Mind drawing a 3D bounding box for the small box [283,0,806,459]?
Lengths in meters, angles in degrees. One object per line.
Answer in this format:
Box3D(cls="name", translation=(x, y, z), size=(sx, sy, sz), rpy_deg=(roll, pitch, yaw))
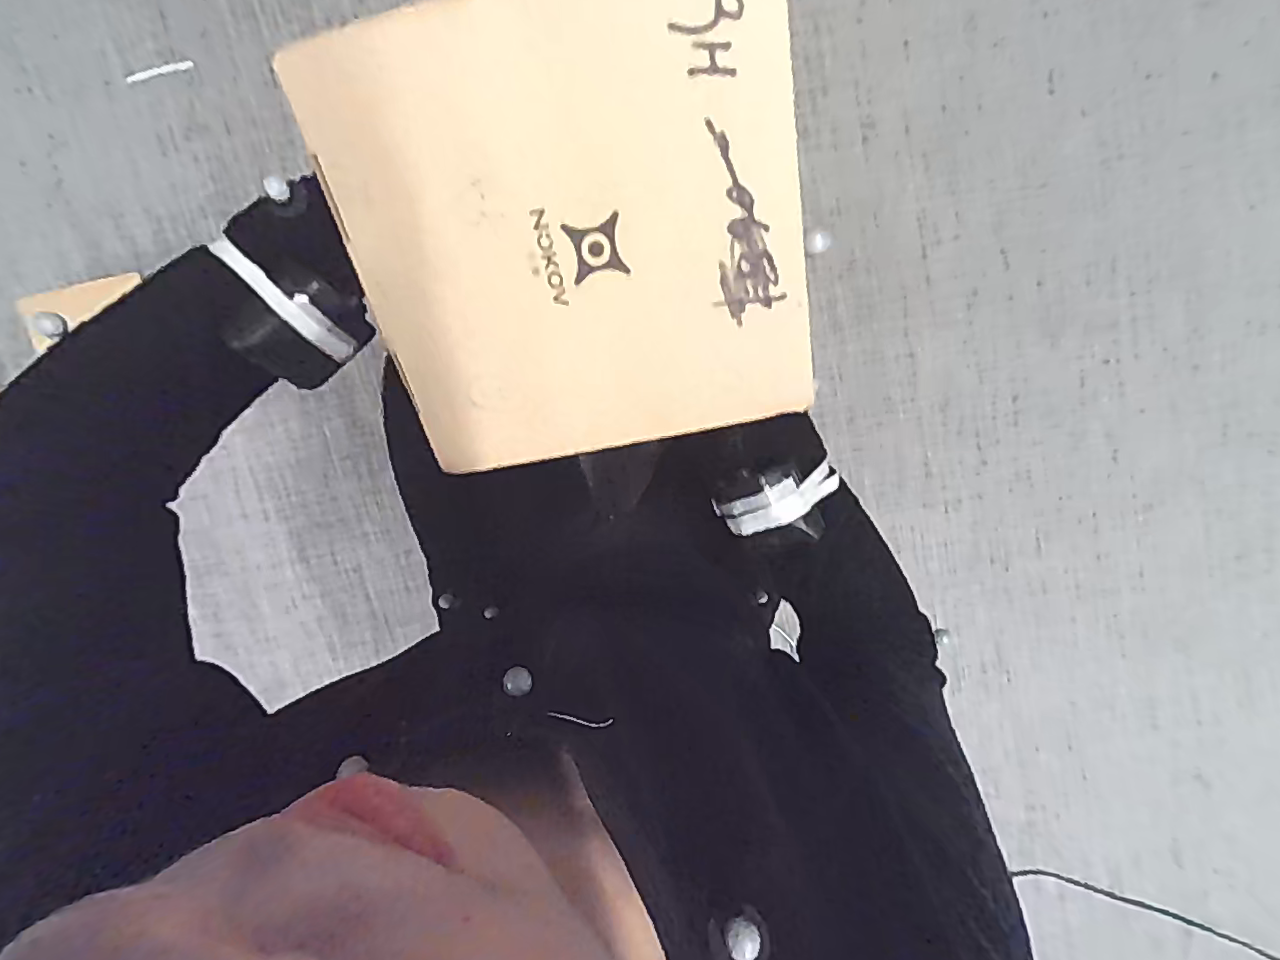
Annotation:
Box3D(cls="small box", translation=(-0.022, -0.128, 0.282), size=(0.179, 0.176, 0.168), rpy_deg=(-9, 116, 8))
